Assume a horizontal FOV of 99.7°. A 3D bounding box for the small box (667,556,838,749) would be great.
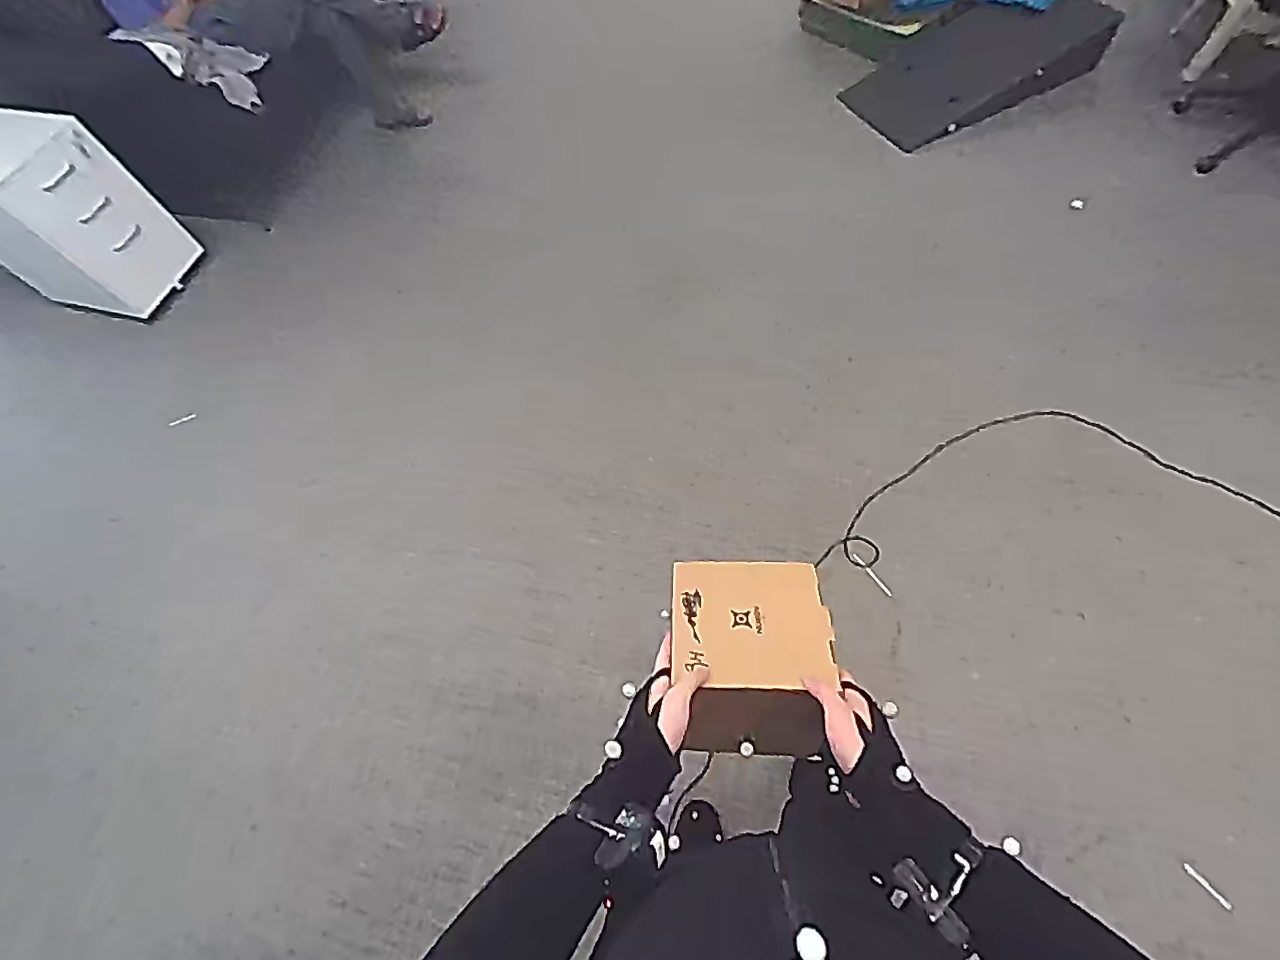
[{"bbox_3d":[0.124,0.213,0.669,0.179,0.176,0.168,1,40,4],"label":"small box"}]
